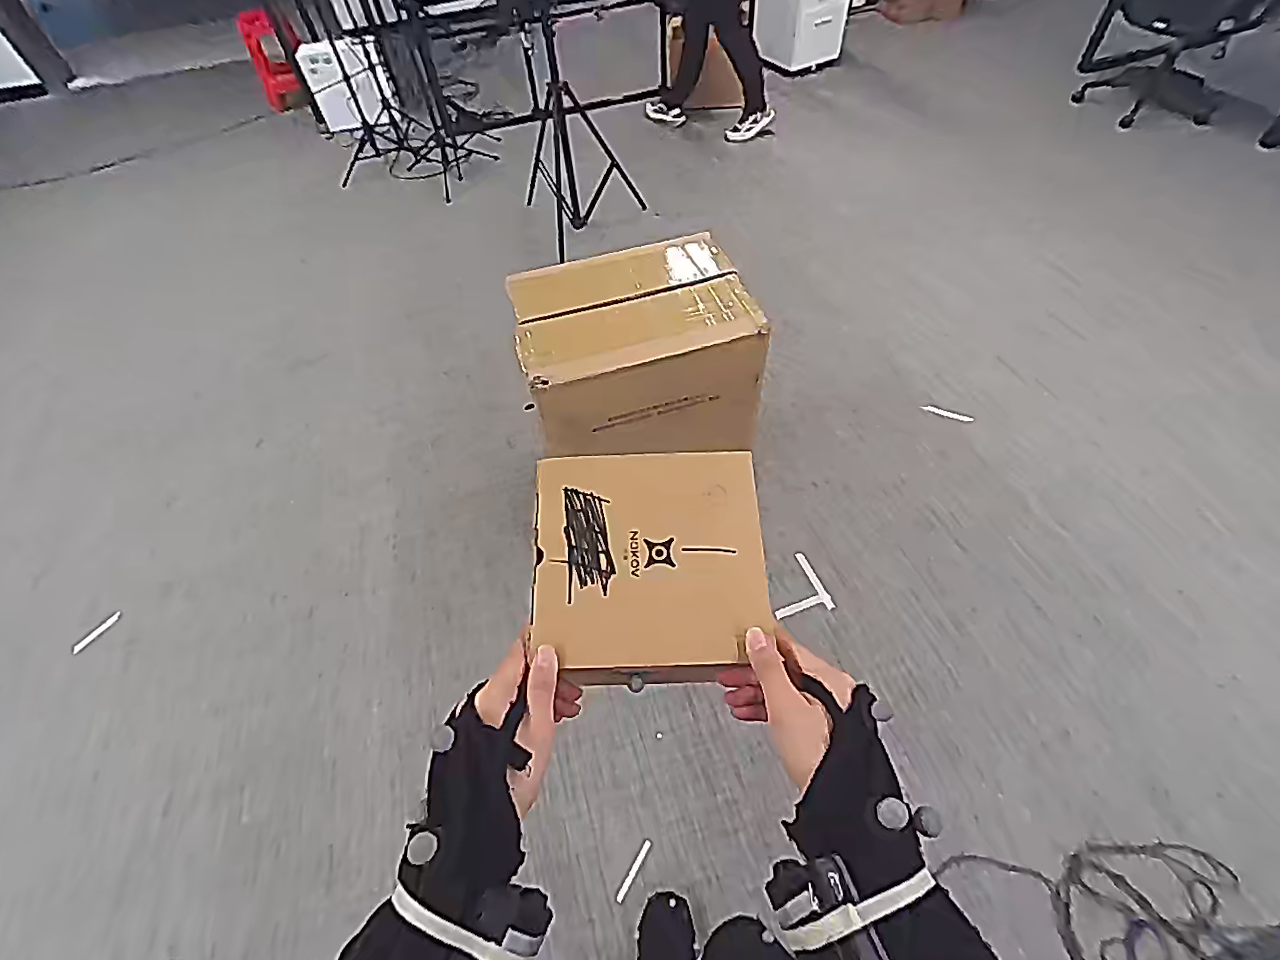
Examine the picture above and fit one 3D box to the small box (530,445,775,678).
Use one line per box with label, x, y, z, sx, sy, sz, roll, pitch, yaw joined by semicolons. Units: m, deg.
small box;0.009;0.082;0.483;0.179;0.176;0.168;-2;65;0
